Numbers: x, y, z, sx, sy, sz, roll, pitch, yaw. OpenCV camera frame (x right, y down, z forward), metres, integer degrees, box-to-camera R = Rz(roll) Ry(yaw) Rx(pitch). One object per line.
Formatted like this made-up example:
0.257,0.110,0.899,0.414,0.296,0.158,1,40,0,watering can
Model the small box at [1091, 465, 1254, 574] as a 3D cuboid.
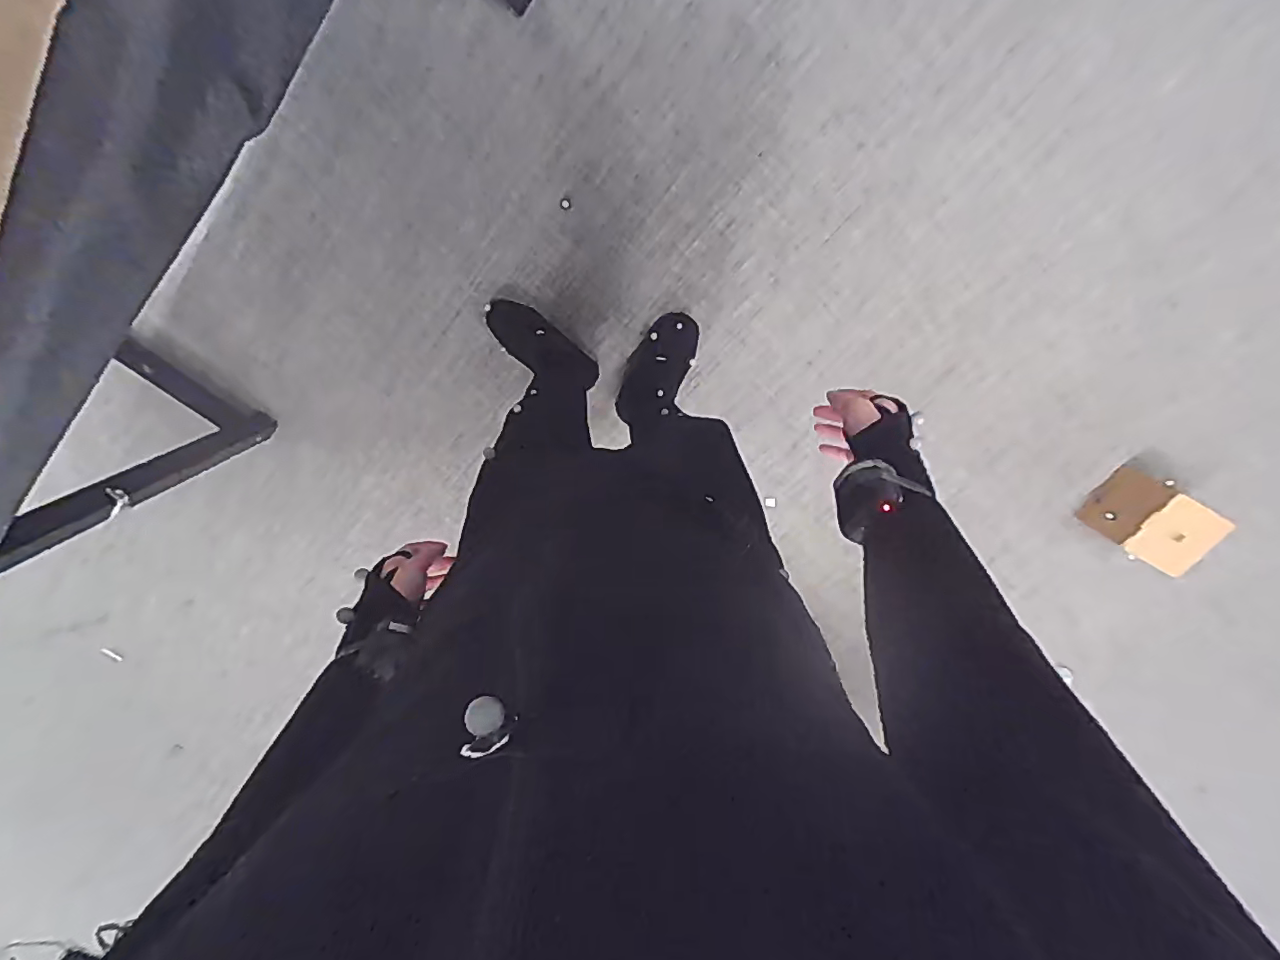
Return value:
1.234,0.084,1.271,0.179,0.176,0.168,25,114,-9,small box
